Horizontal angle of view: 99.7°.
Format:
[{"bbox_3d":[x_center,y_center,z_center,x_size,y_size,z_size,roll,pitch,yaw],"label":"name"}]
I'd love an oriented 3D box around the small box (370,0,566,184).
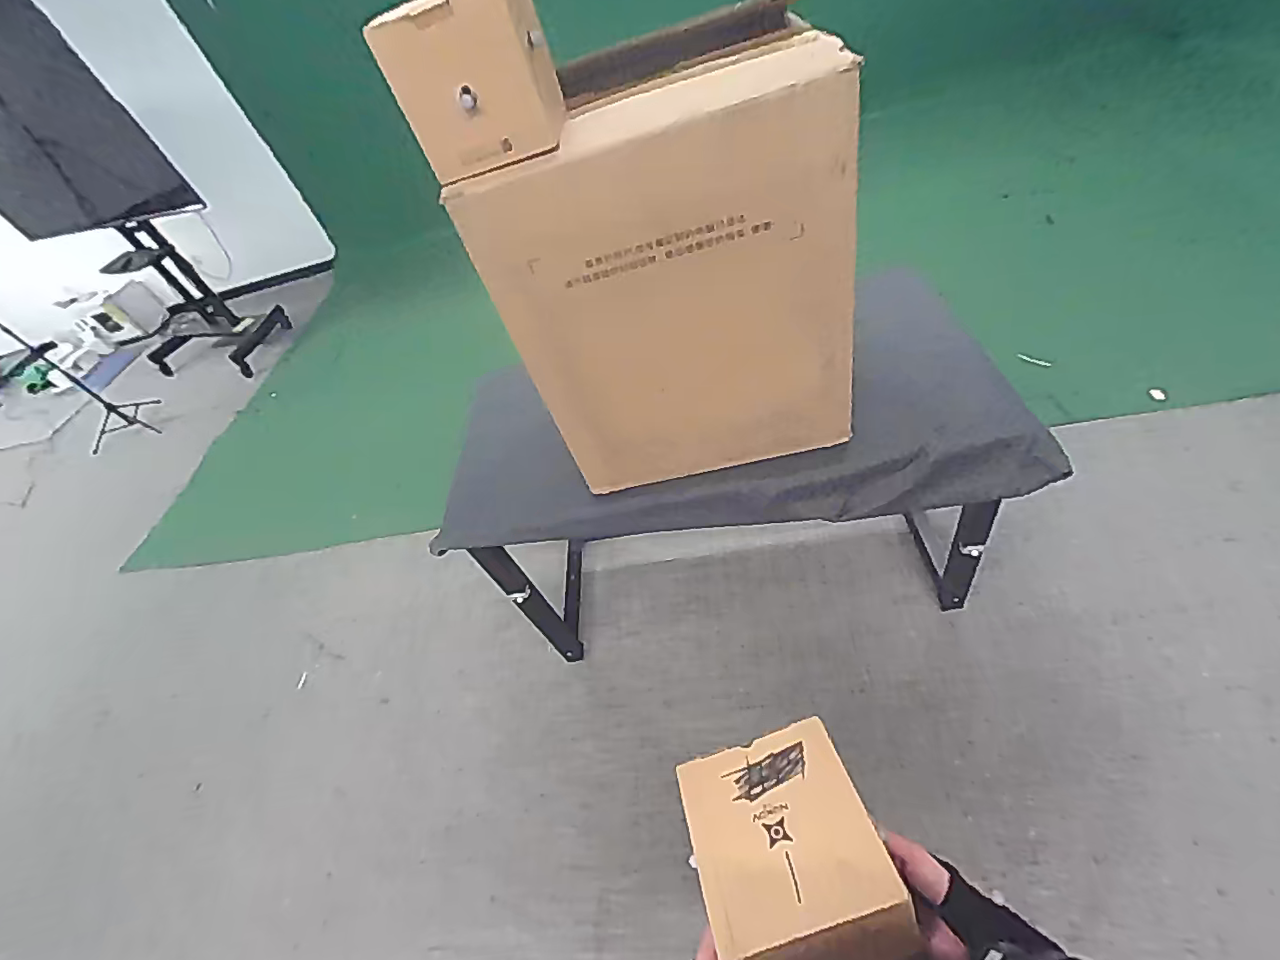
[{"bbox_3d":[-0.203,-0.509,0.697,0.168,0.176,0.179,-11,48,10],"label":"small box"}]
